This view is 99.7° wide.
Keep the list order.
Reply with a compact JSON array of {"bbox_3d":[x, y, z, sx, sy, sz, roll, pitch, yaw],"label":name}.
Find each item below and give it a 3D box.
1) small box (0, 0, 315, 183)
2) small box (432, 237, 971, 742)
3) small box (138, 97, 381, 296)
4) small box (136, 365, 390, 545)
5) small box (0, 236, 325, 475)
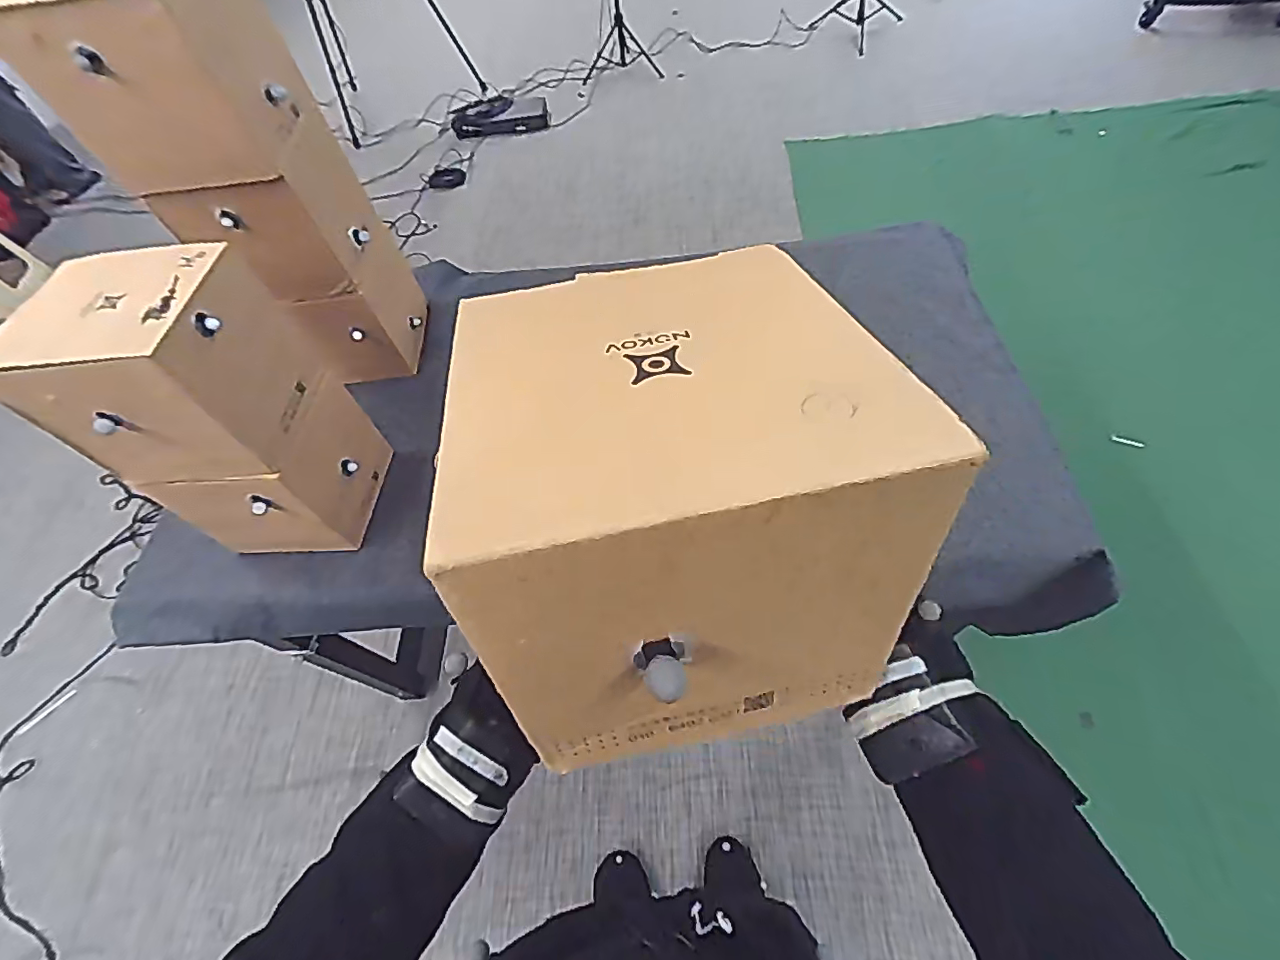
[{"bbox_3d":[-0.489,-0.437,0.565,0.179,0.176,0.168,-5,60,3],"label":"small box"},{"bbox_3d":[0.015,0.008,0.269,0.168,0.176,0.179,-12,44,-4],"label":"small box"},{"bbox_3d":[-0.477,-0.362,0.711,0.179,0.176,0.168,-6,60,1],"label":"small box"},{"bbox_3d":[-0.453,-0.026,0.689,0.179,0.176,0.168,-2,56,6],"label":"small box"},{"bbox_3d":[-0.473,-0.118,0.556,0.179,0.176,0.168,-5,56,4],"label":"small box"}]
